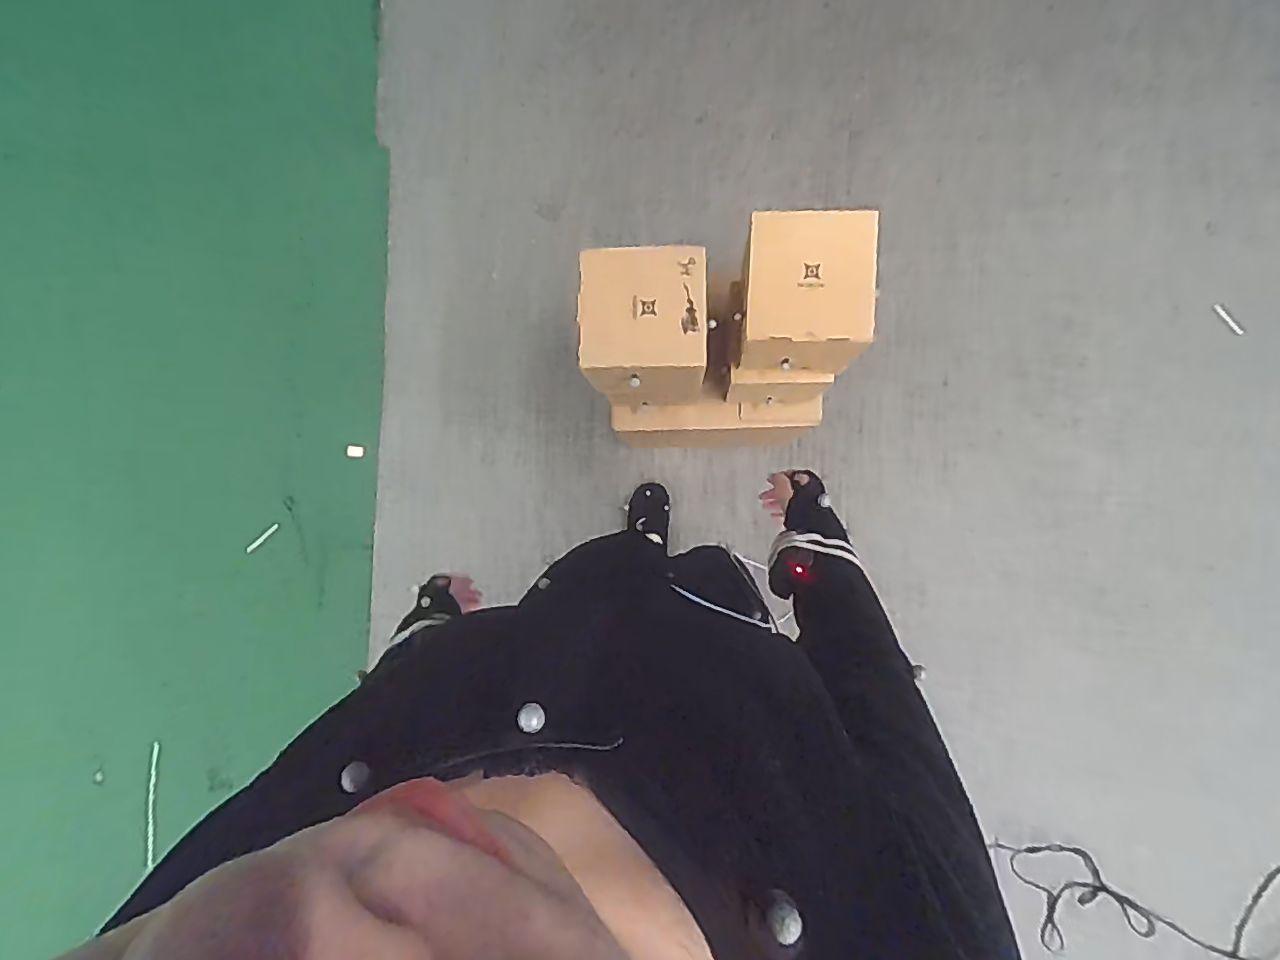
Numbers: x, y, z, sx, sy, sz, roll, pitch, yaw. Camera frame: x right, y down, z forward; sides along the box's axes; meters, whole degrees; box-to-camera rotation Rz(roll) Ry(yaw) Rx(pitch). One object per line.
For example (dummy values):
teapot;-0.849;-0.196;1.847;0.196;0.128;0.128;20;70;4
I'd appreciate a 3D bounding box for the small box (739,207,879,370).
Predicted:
small box;0.238;-0.273;0.800;0.168;0.176;0.179;3;88;6
